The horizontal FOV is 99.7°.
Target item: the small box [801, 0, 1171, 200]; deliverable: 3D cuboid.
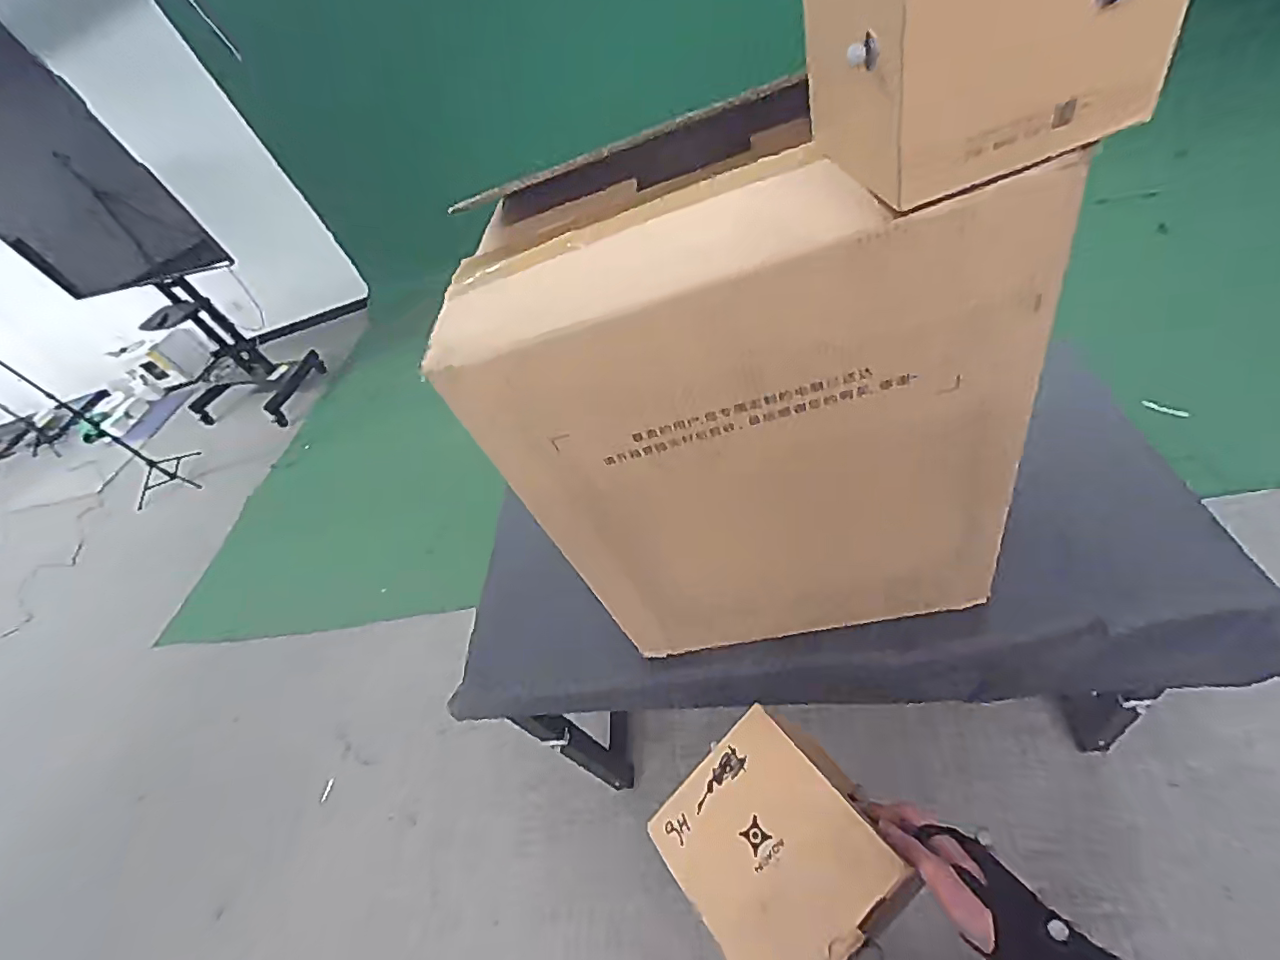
[{"bbox_3d":[0.219,-0.318,0.366,0.168,0.176,0.179,-17,45,7],"label":"small box"}]
